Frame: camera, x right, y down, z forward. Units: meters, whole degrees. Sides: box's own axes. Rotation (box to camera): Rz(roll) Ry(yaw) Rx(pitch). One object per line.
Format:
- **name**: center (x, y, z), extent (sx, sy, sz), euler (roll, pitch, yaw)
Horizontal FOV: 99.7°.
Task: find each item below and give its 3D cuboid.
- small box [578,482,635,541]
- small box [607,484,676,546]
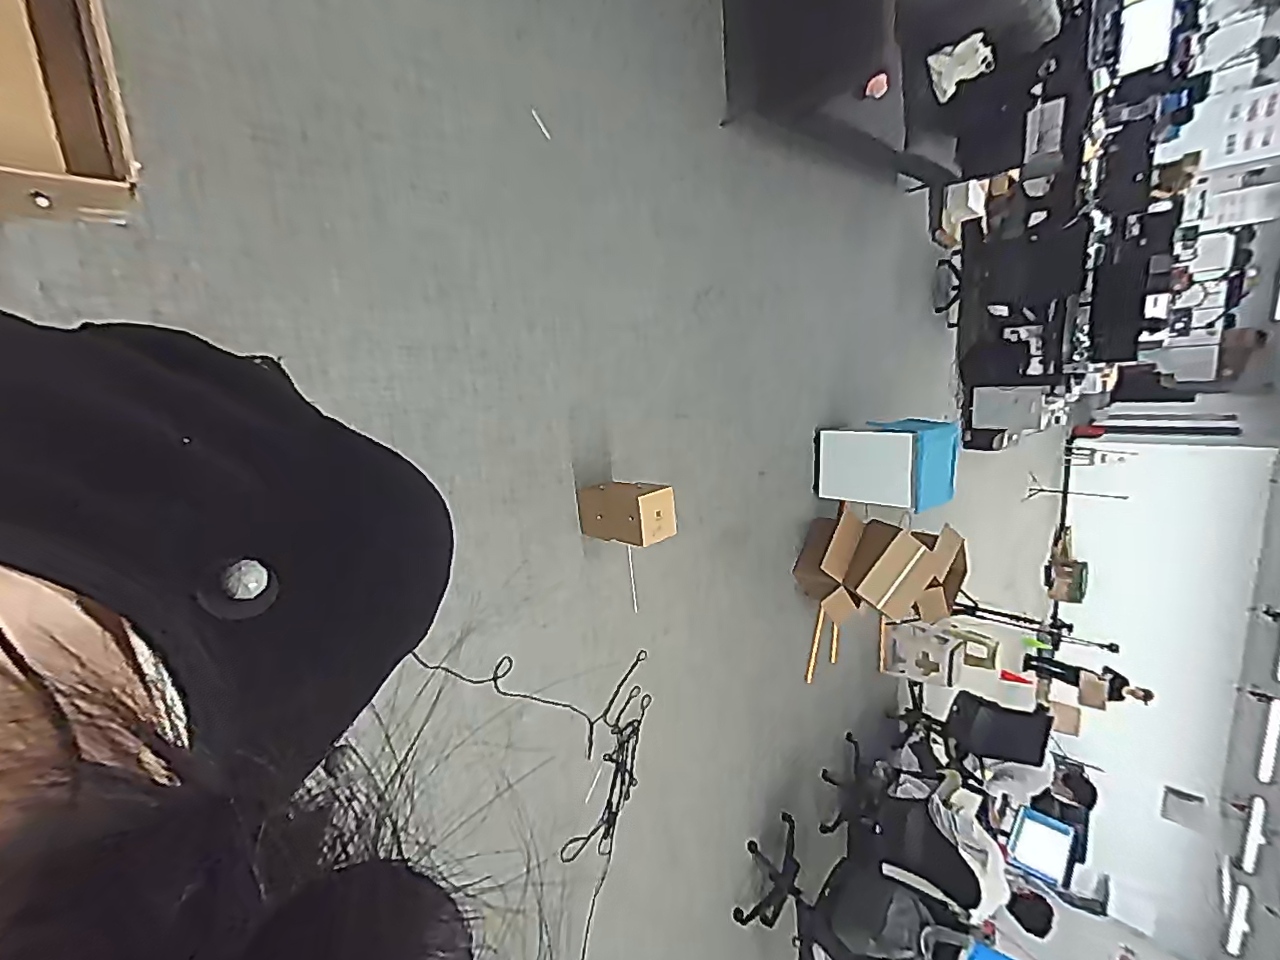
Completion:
- **small box**: center (-0.113, 0.108, 1.977), extent (0.168, 0.176, 0.179), euler (-17, 107, -42)
- **small box**: center (0.001, 0.113, 1.858), extent (0.168, 0.176, 0.179), euler (-16, 106, -41)
